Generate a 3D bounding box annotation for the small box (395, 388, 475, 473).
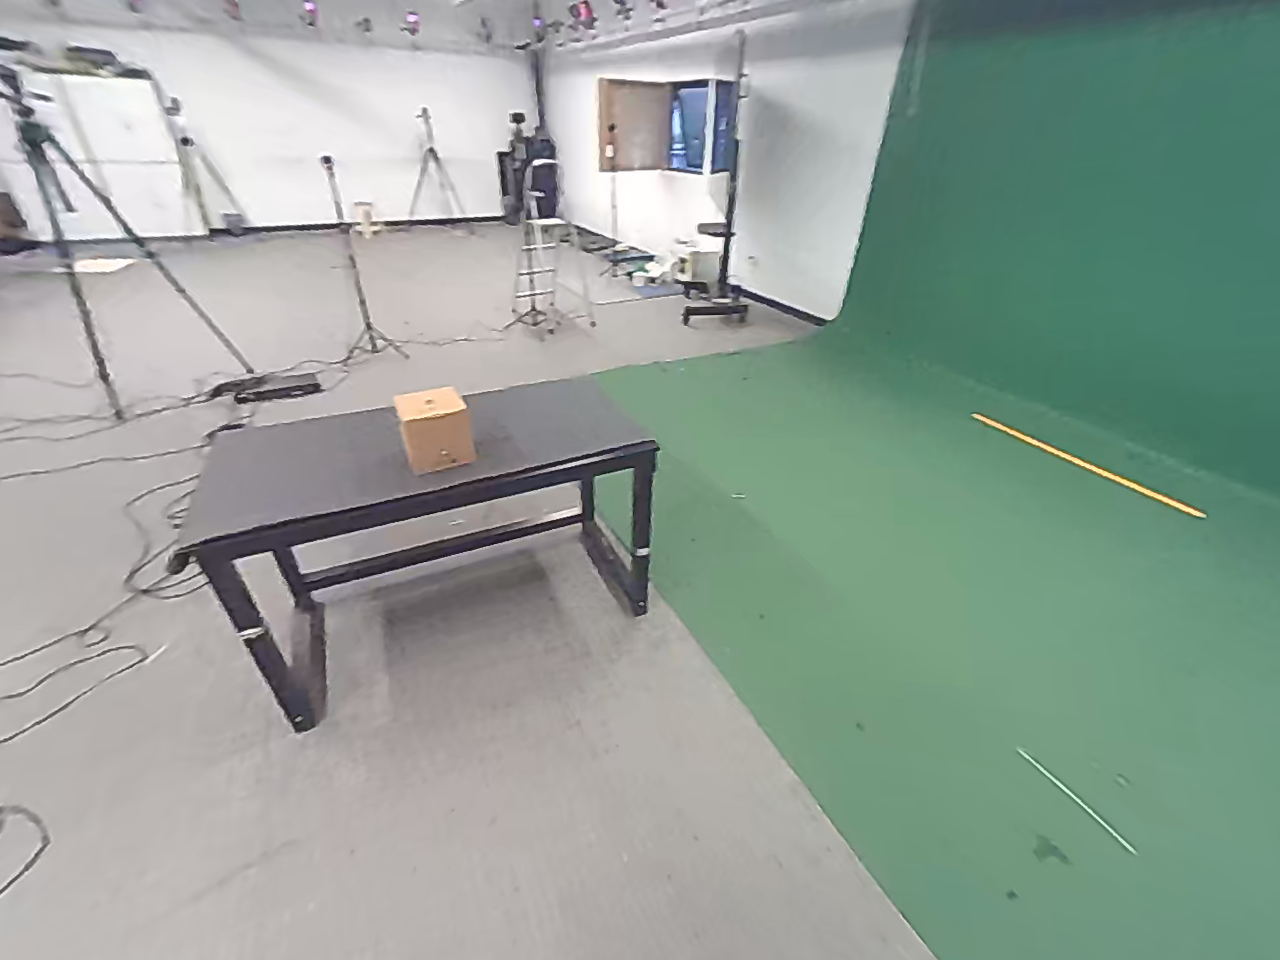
[{"bbox_3d":[-0.574,-0.140,1.516,0.168,0.176,0.179,-16,36,-25],"label":"small box"}]
